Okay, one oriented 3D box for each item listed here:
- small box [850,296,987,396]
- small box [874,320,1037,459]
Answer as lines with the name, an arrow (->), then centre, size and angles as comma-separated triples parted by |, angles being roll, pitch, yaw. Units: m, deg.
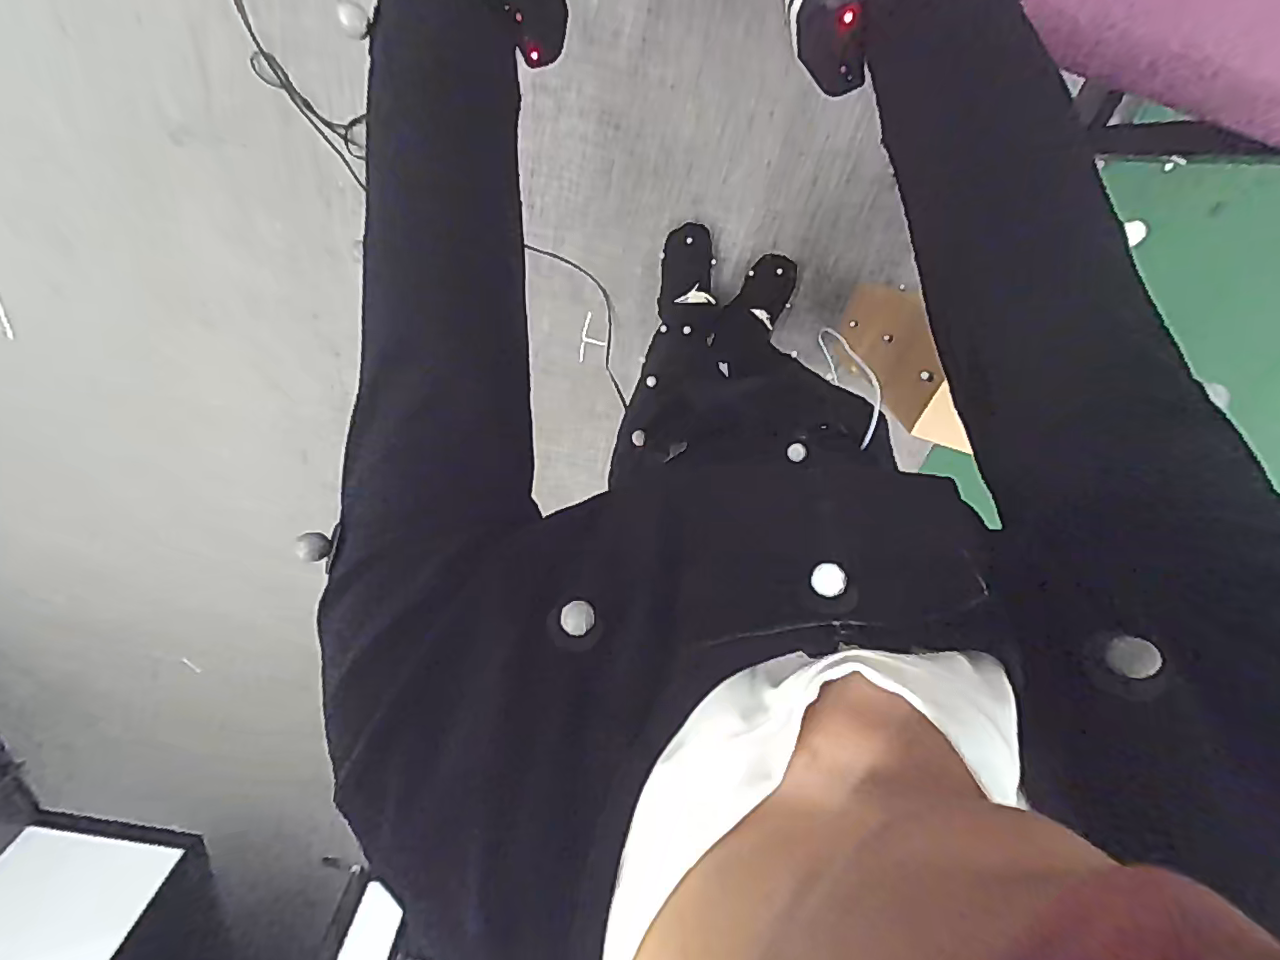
small box -> 0.562, -0.260, 1.126 | 0.168, 0.176, 0.179 | 17, 119, -8
small box -> 0.557, -0.170, 0.991 | 0.168, 0.176, 0.179 | 16, 119, -7
